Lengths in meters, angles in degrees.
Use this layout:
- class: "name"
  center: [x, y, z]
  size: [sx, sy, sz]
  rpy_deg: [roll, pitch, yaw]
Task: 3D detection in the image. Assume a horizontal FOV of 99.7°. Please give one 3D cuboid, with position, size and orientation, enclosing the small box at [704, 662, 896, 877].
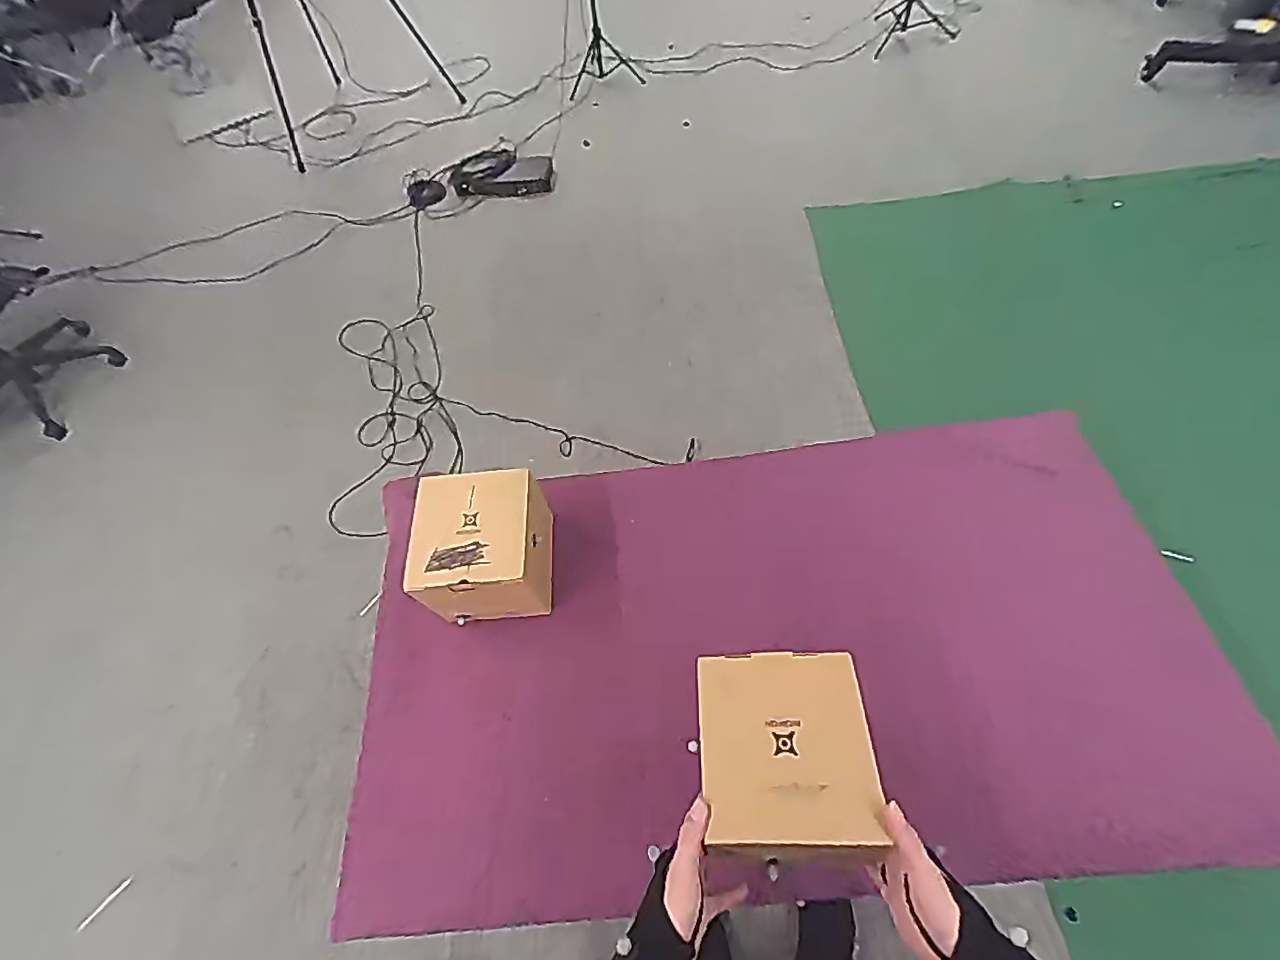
- class: "small box"
  center: [0.155, 0.316, 0.590]
  size: [0.168, 0.176, 0.179]
  rpy_deg: [-4, 50, 7]

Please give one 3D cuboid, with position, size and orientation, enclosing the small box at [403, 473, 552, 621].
- class: "small box"
  center: [-0.229, 0.109, 0.814]
  size: [0.168, 0.176, 0.179]
  rpy_deg: [-4, 61, 1]
